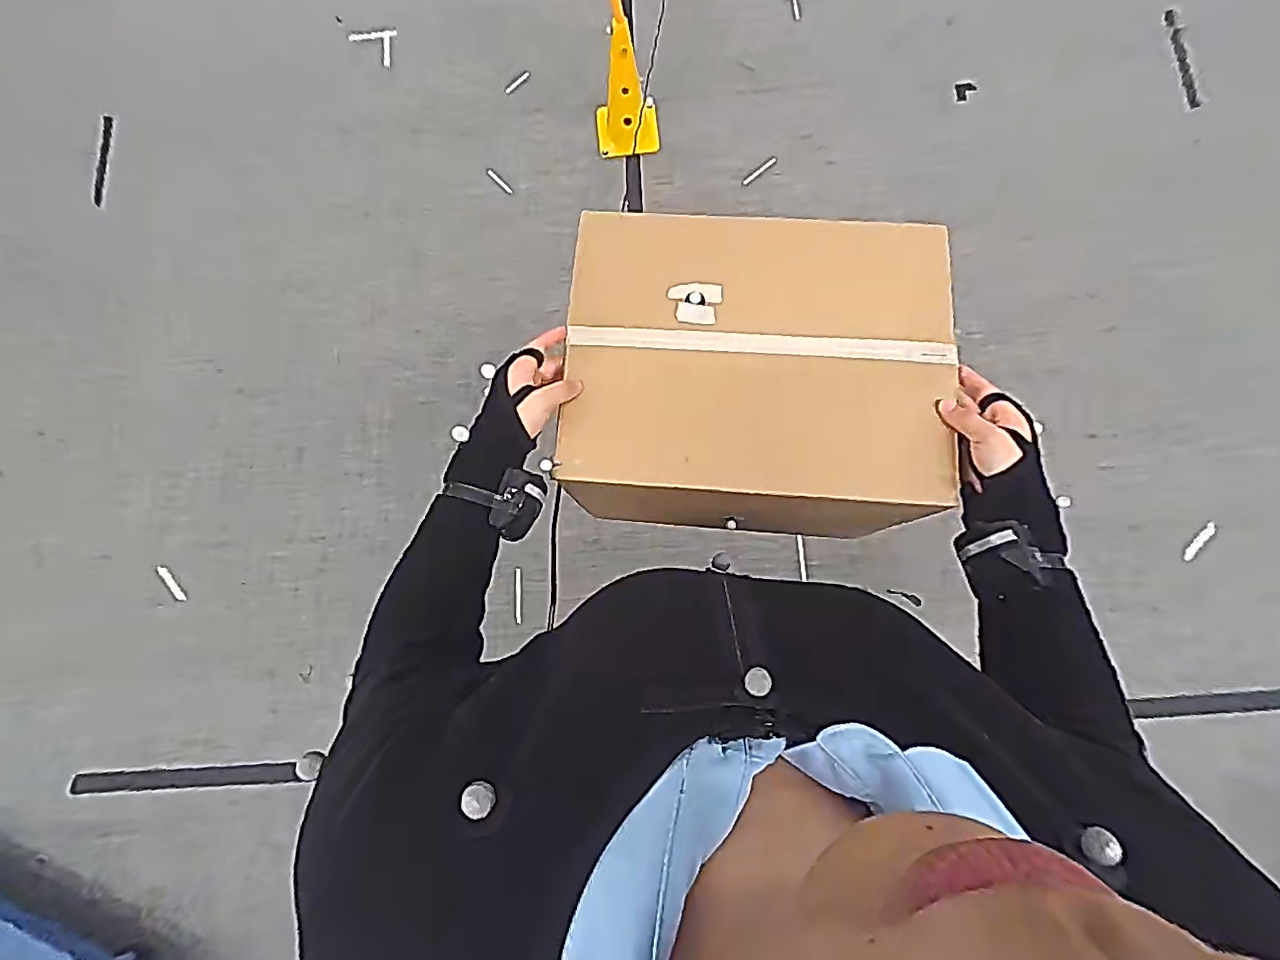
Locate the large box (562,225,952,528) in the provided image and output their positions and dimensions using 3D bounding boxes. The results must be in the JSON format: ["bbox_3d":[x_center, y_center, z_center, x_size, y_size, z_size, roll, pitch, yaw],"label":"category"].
[{"bbox_3d":[0.133,-0.109,0.728,0.408,0.320,0.320,3,77,4],"label":"large box"}]
